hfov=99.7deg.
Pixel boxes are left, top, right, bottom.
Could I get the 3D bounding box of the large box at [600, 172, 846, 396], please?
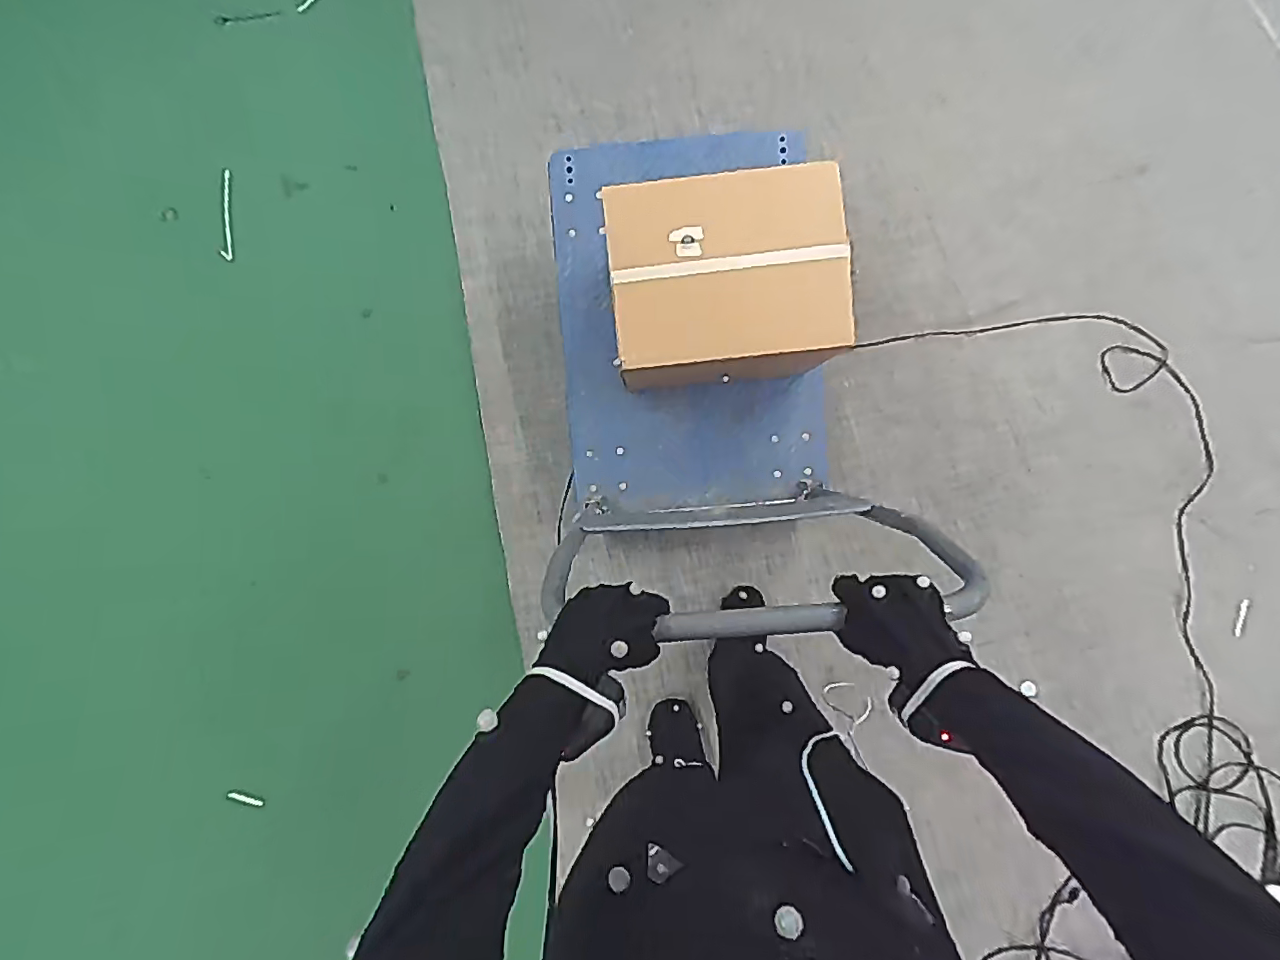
[{"bbox_3d":[0.152,-0.358,1.086,0.408,0.320,0.320,-6,91,3],"label":"large box"}]
